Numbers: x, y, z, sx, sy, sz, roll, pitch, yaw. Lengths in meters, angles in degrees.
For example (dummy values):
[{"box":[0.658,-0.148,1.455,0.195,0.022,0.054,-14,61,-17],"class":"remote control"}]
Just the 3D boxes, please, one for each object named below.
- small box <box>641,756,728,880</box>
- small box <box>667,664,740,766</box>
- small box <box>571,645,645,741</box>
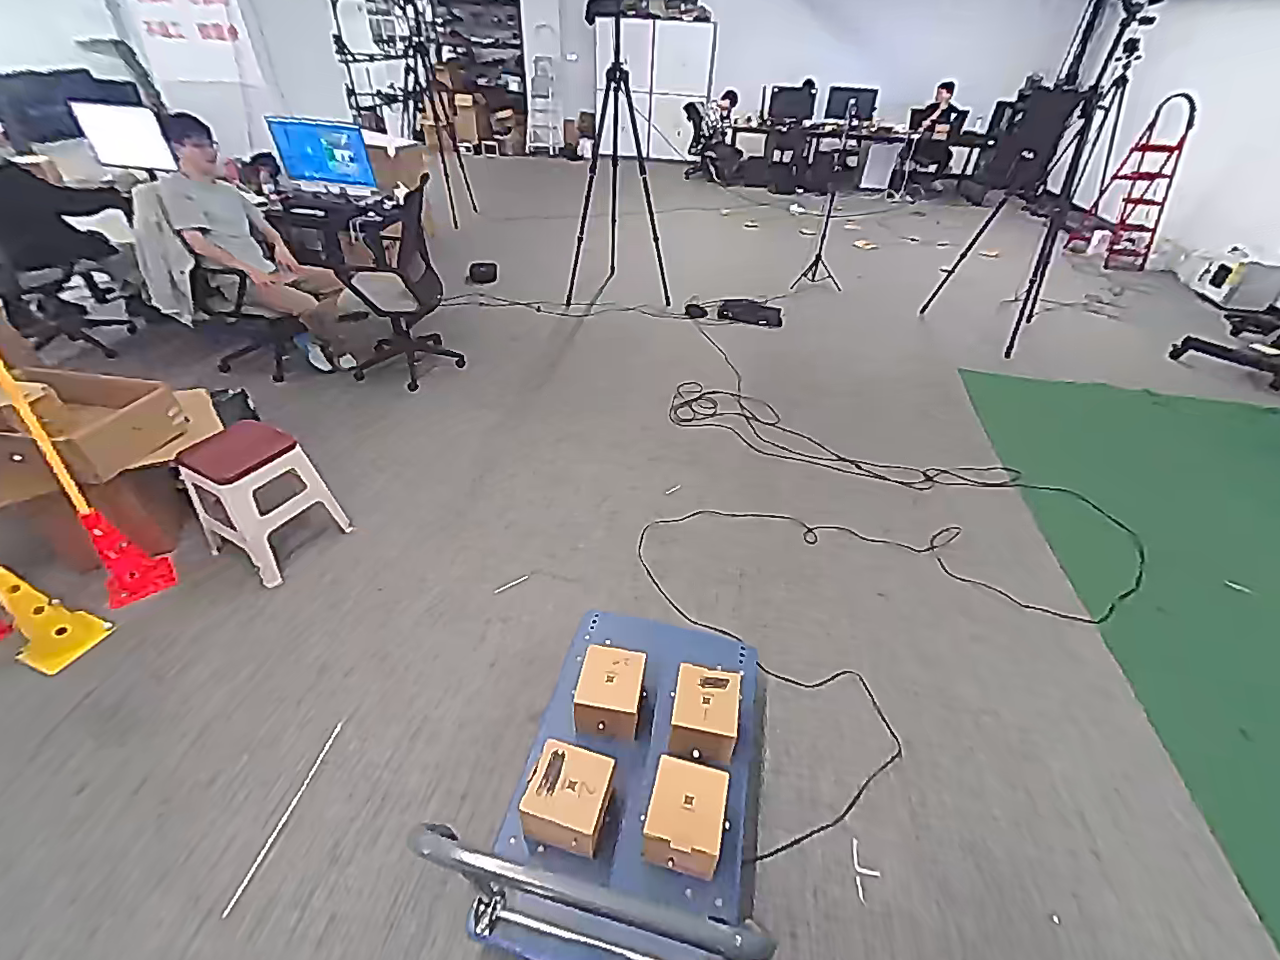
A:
[{"box":[0.101,0.783,1.253,0.168,0.176,0.179,11,42,10],"class":"small box"},{"box":[0.167,0.626,1.442,0.168,0.176,0.179,9,42,8],"class":"small box"},{"box":[-0.082,0.583,1.476,0.168,0.176,0.179,9,40,6],"class":"small box"}]
